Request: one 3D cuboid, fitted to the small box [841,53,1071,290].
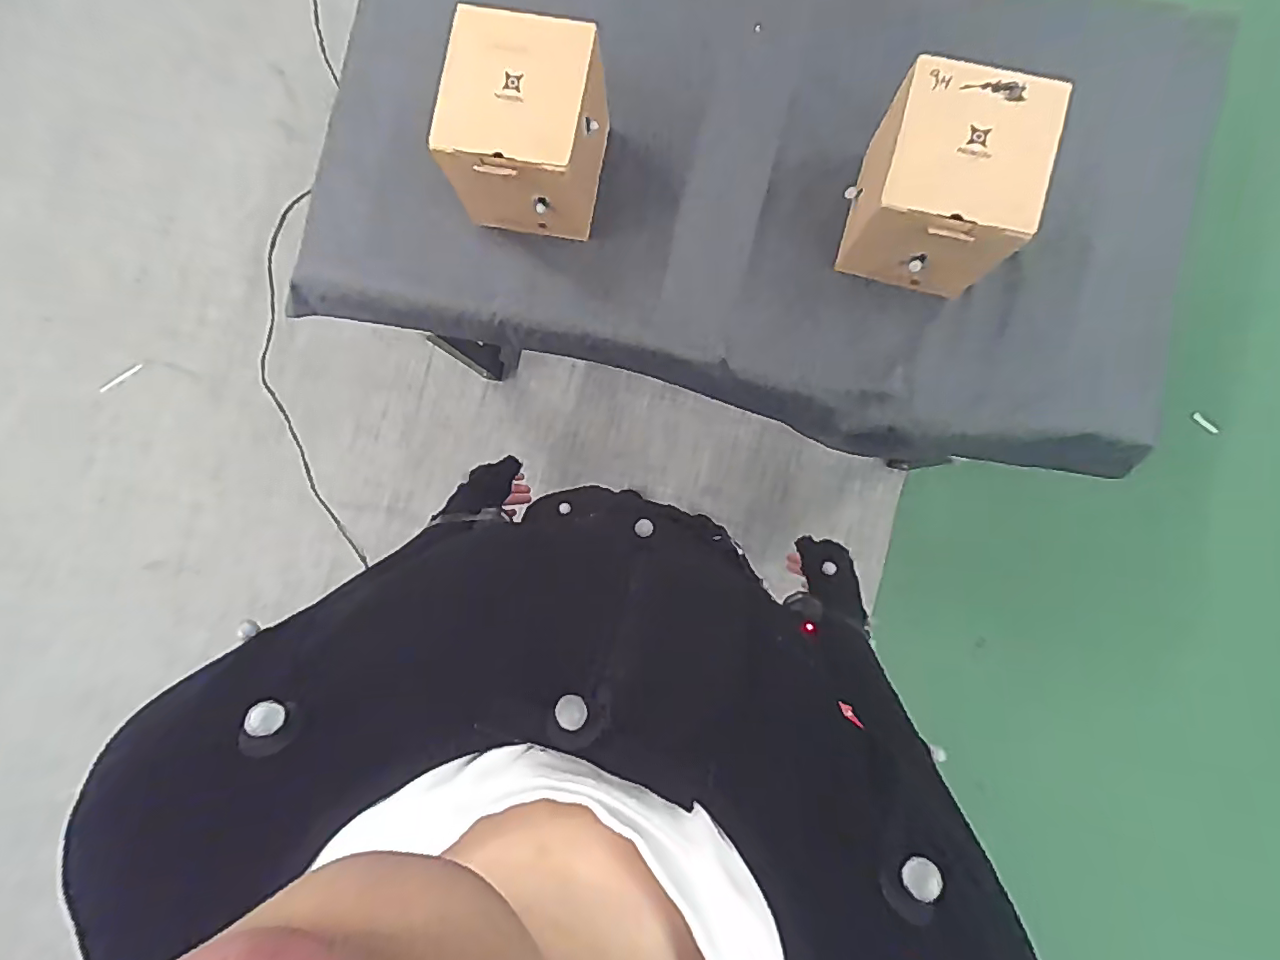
[{"bbox_3d":[0.362,-0.356,0.657,0.168,0.176,0.179,15,89,4],"label":"small box"}]

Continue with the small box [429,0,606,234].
[{"bbox_3d":[-0.141,-0.443,0.688,0.168,0.176,0.179,10,87,2],"label":"small box"}]
